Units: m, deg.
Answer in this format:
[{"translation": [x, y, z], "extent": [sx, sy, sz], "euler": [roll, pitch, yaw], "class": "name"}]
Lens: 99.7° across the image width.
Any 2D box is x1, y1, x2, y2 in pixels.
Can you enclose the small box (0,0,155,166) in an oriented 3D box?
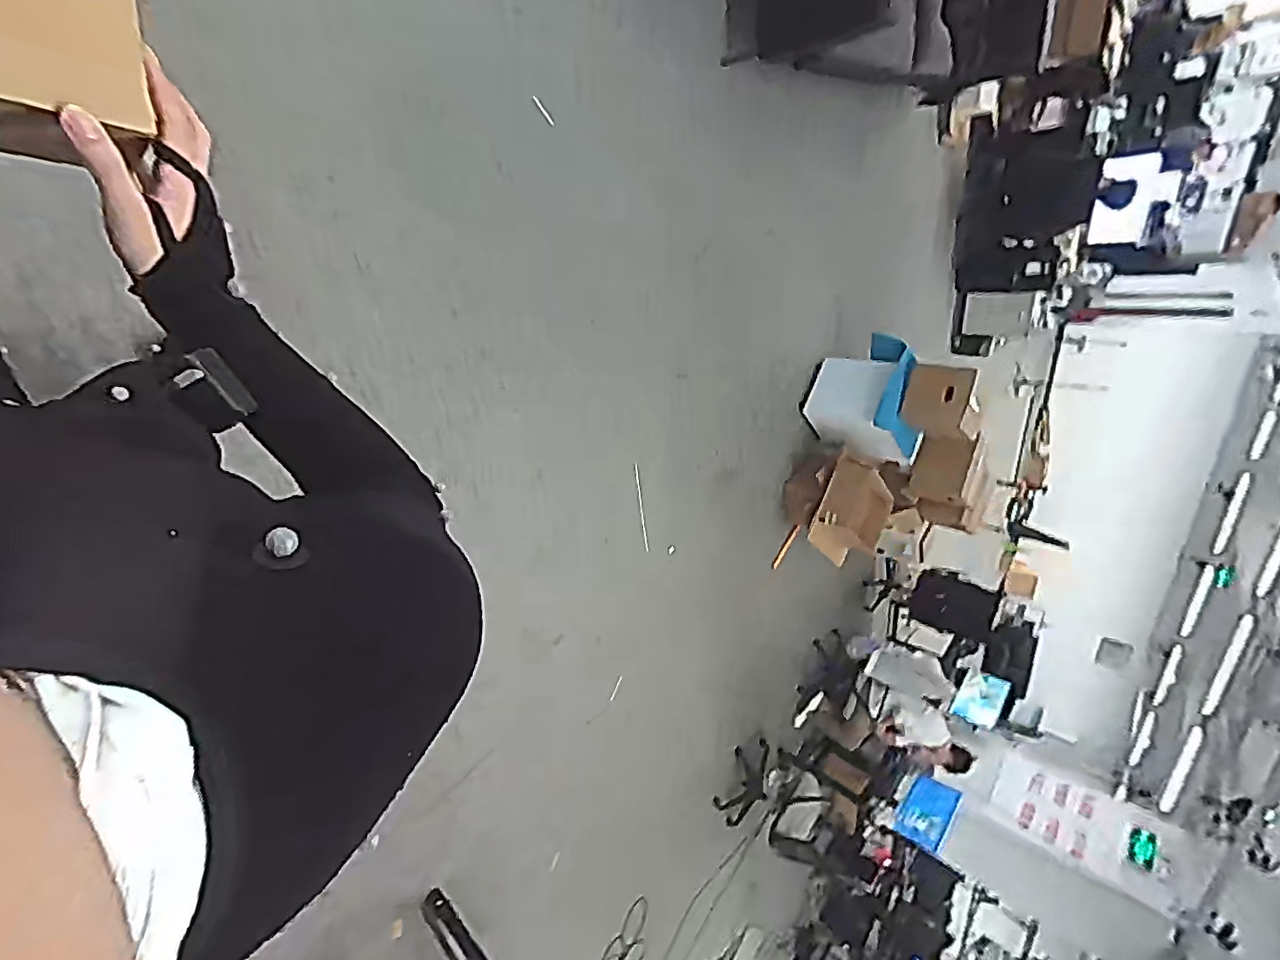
[{"translation": [-0.452, -0.326, 0.354], "extent": [0.179, 0.176, 0.168], "euler": [-12, 110, -45], "class": "small box"}]
